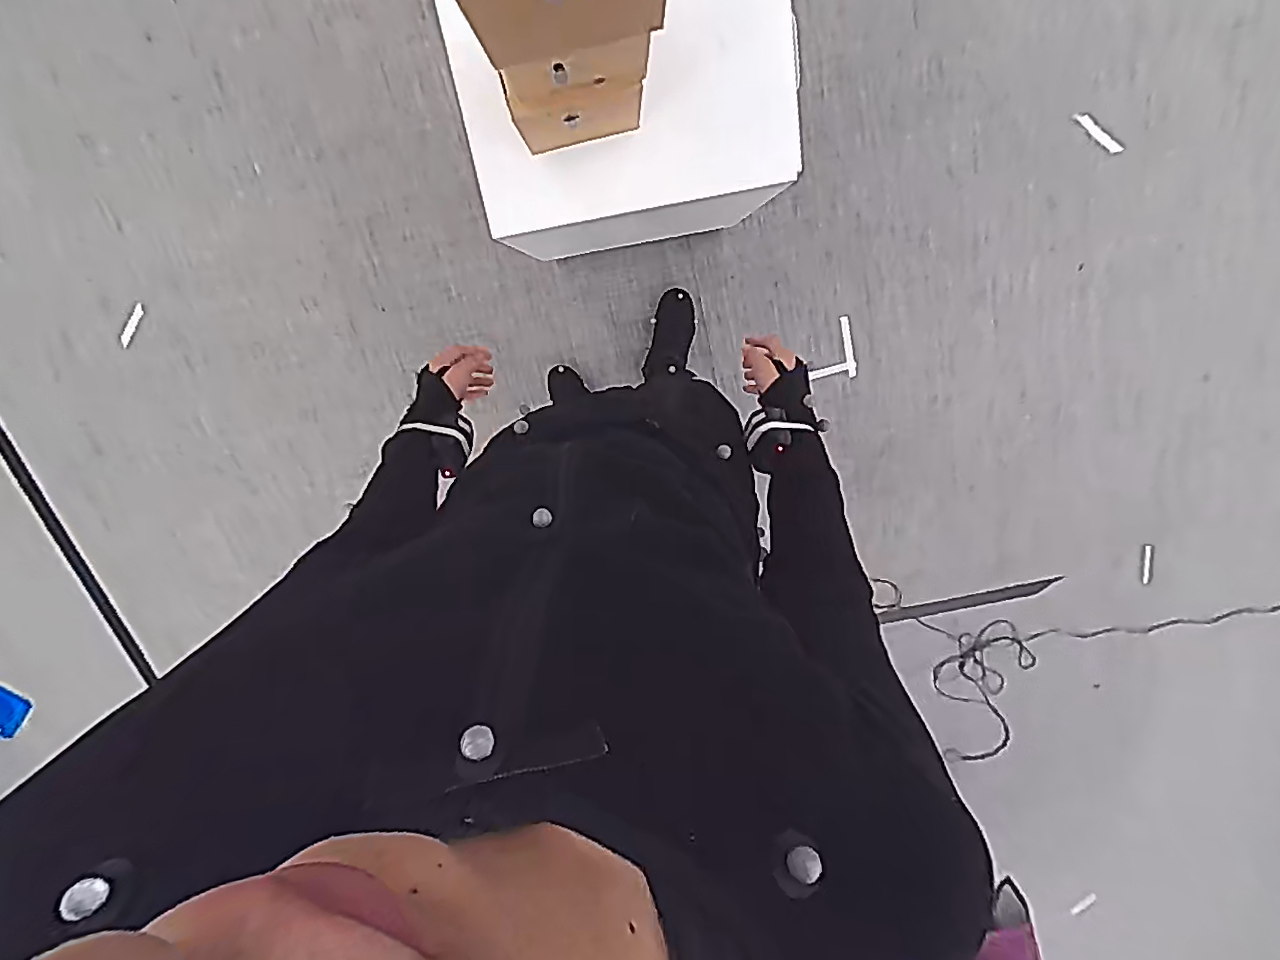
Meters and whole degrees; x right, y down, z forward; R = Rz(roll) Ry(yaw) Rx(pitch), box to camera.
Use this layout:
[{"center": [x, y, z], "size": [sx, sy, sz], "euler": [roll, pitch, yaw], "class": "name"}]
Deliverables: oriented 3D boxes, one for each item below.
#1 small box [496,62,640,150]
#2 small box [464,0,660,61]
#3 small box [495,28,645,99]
[{"center": [-0.102, -0.583, 0.748], "size": [0.179, 0.176, 0.168], "euler": [-13, 108, 2], "class": "small box"}, {"center": [-0.077, -0.480, 0.438], "size": [0.179, 0.176, 0.168], "euler": [-12, 108, 2], "class": "small box"}, {"center": [-0.087, -0.548, 0.589], "size": [0.168, 0.176, 0.179], "euler": [-12, 107, 2], "class": "small box"}]
